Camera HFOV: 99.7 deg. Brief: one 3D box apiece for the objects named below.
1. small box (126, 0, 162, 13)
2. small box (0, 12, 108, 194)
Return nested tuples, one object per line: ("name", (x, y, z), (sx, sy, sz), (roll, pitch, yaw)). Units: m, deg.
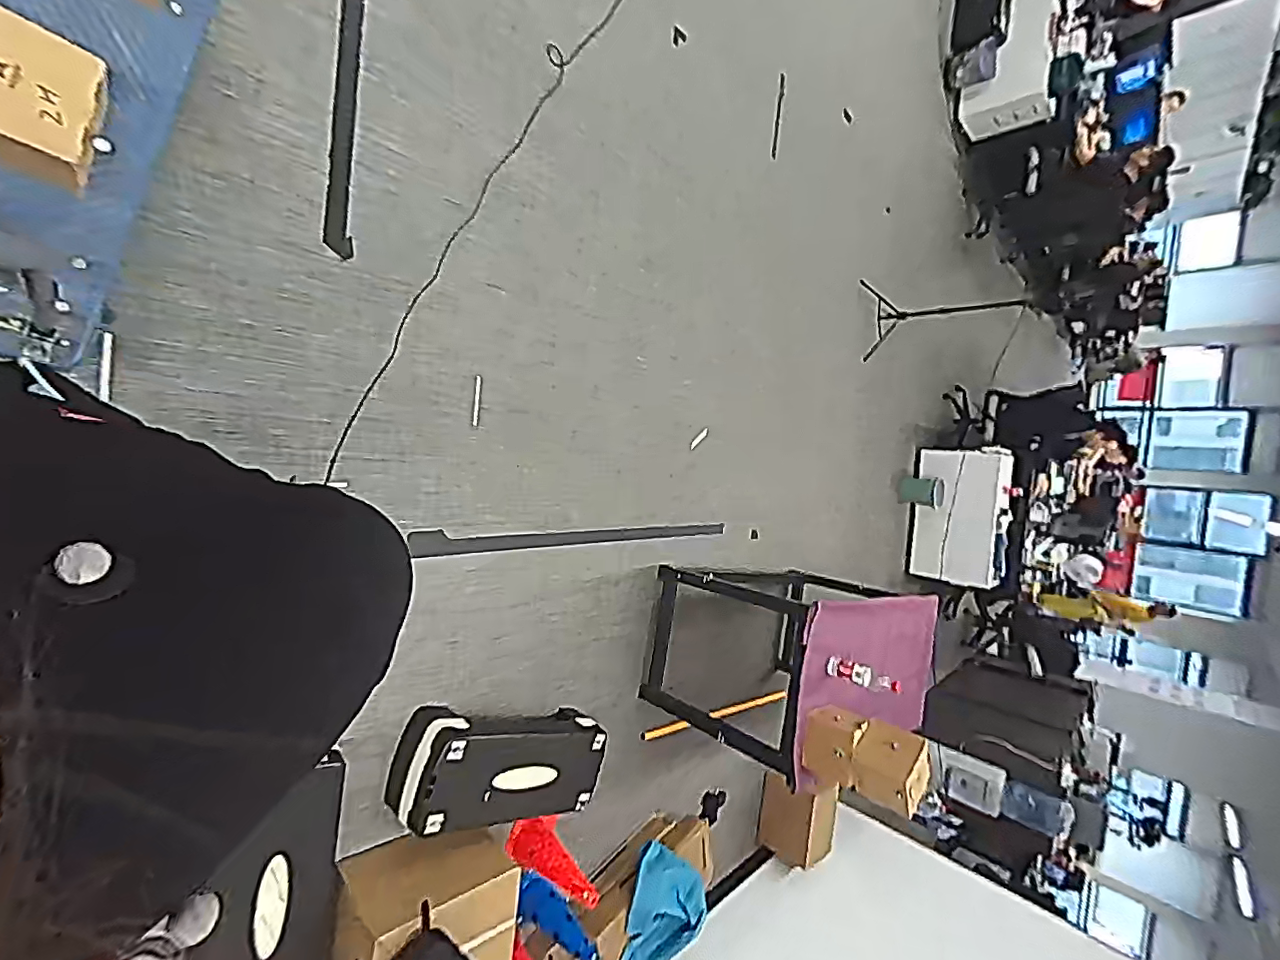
("small box", (-0.827, -0.906, 0.846), (0.168, 0.176, 0.179), (22, 81, -44))
("small box", (-0.924, -0.557, 0.795), (0.179, 0.176, 0.168), (15, 85, -45))
